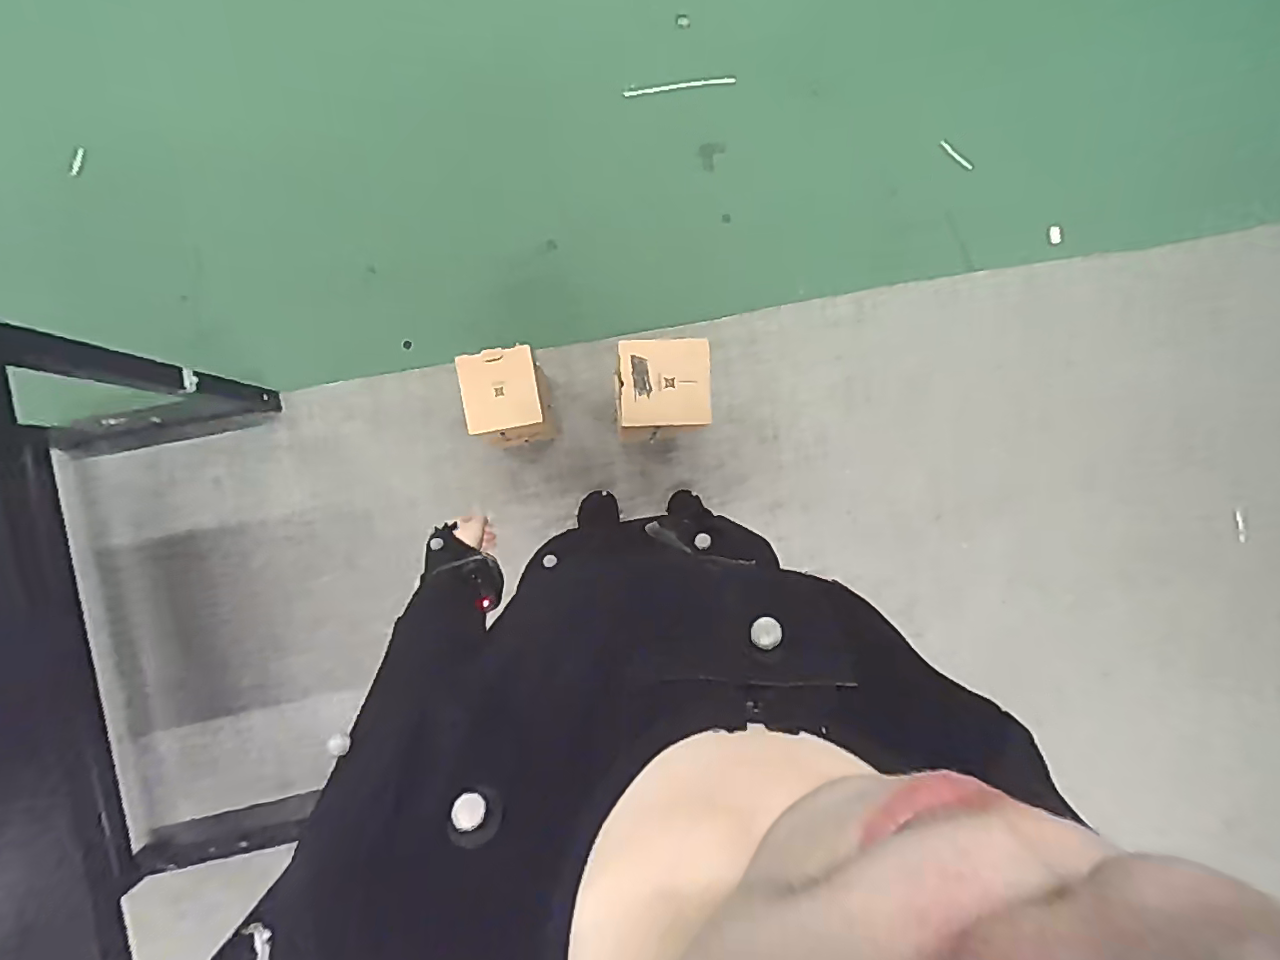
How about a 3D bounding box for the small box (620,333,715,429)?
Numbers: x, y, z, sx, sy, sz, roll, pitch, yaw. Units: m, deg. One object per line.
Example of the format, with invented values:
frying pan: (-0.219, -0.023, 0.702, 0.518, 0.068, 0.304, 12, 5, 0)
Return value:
small box: (0.049, -0.191, 1.086, 0.179, 0.176, 0.168, -2, 91, -3)
